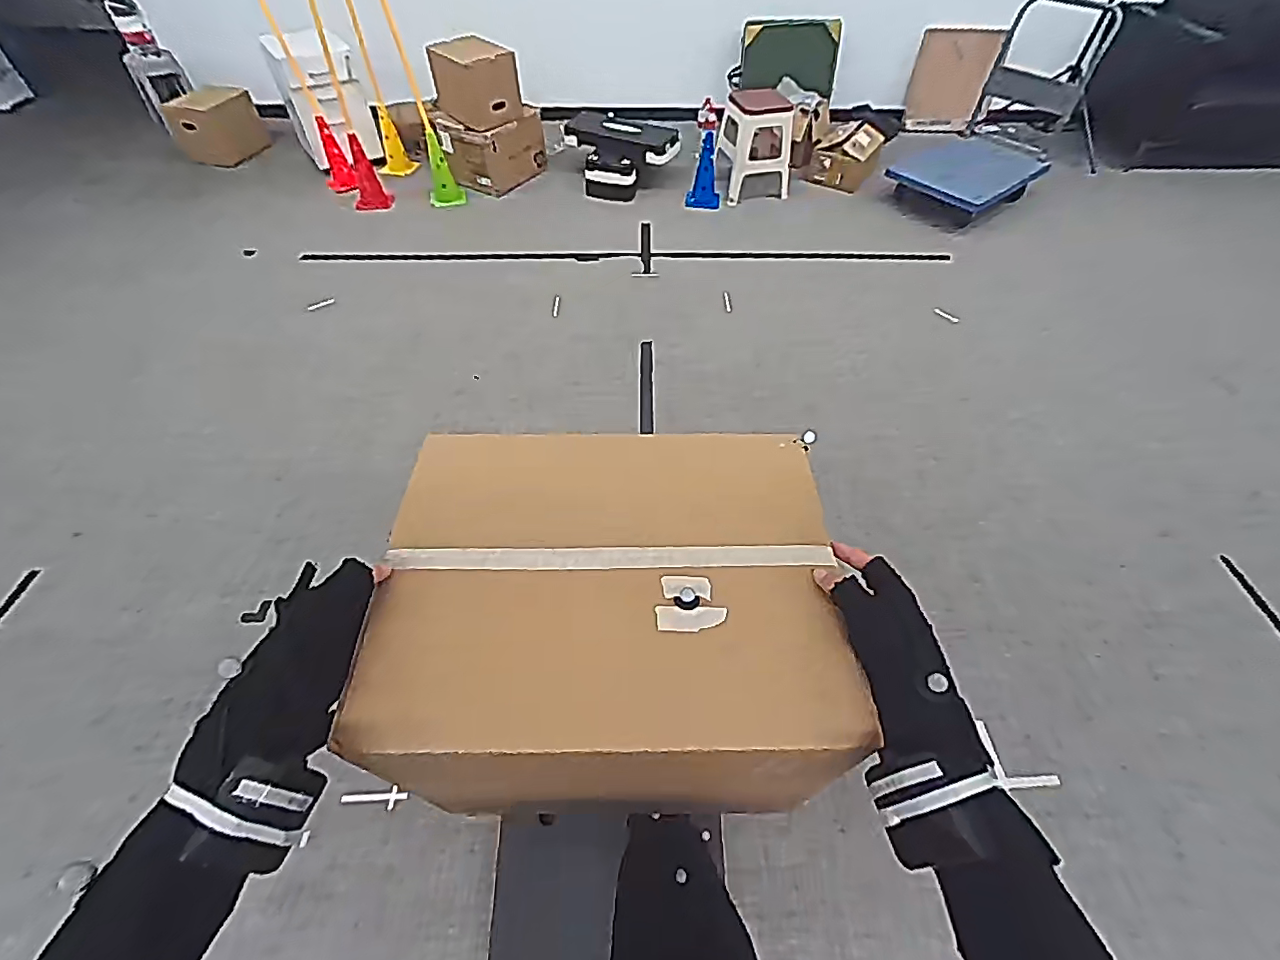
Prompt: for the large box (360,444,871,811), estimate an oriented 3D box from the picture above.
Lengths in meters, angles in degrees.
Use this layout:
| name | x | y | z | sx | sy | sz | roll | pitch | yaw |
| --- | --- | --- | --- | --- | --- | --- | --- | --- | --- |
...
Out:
| name | x | y | z | sx | sy | sz | roll | pitch | yaw |
| --- | --- | --- | --- | --- | --- | --- | --- | --- | --- |
| large box | -0.023 | 0.173 | 0.621 | 0.408 | 0.320 | 0.320 | 0 | 51 | -1 |
